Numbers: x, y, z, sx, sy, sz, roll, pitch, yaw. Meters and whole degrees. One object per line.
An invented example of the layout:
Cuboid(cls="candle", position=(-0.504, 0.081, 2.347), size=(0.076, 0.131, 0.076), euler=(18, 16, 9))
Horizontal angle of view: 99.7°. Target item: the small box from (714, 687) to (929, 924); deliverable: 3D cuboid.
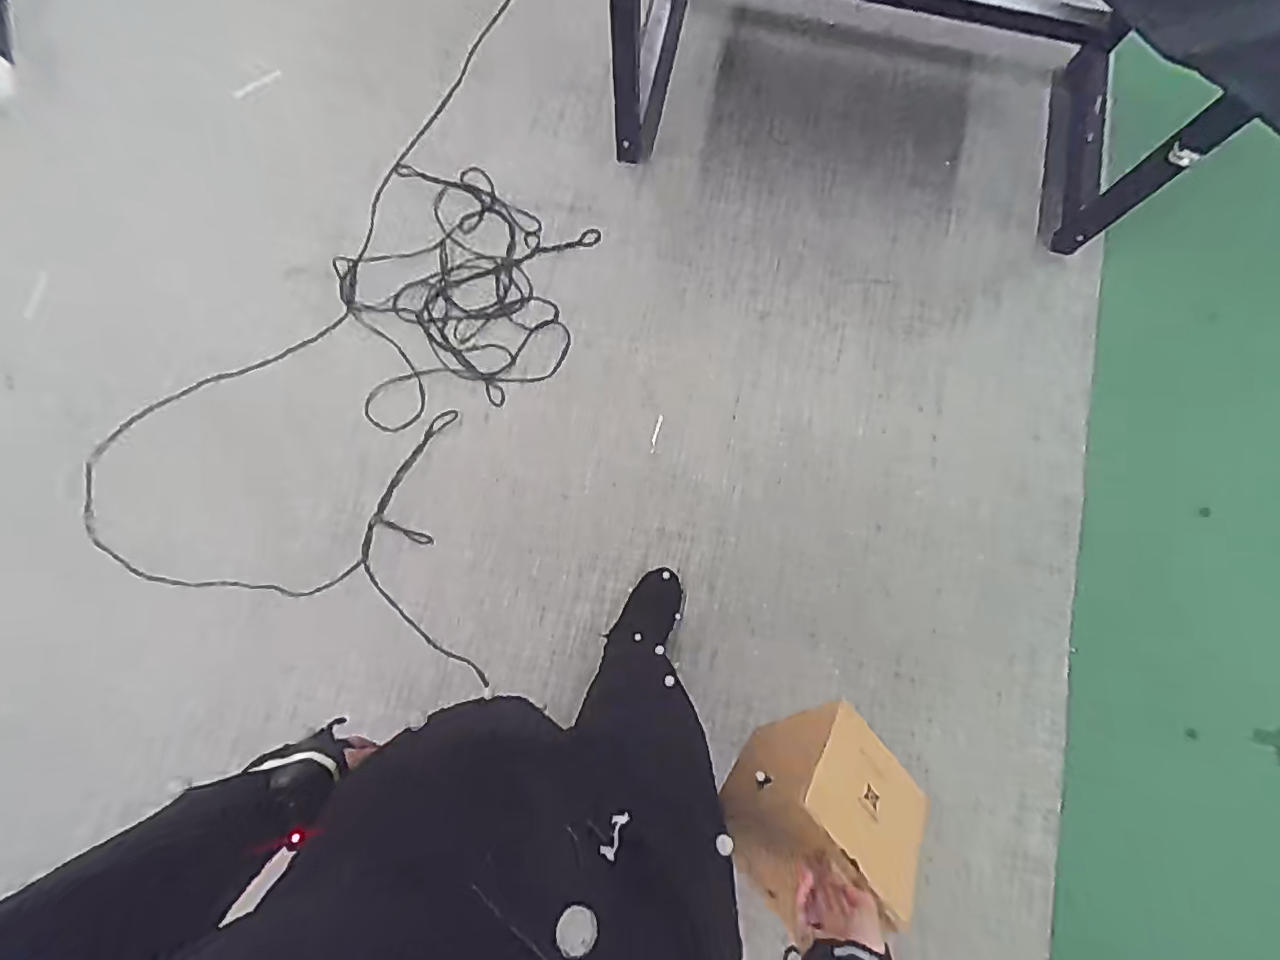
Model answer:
Cuboid(cls="small box", position=(0.216, 0.396, 0.659), size=(0.168, 0.179, 0.176), euler=(50, 127, 4))
